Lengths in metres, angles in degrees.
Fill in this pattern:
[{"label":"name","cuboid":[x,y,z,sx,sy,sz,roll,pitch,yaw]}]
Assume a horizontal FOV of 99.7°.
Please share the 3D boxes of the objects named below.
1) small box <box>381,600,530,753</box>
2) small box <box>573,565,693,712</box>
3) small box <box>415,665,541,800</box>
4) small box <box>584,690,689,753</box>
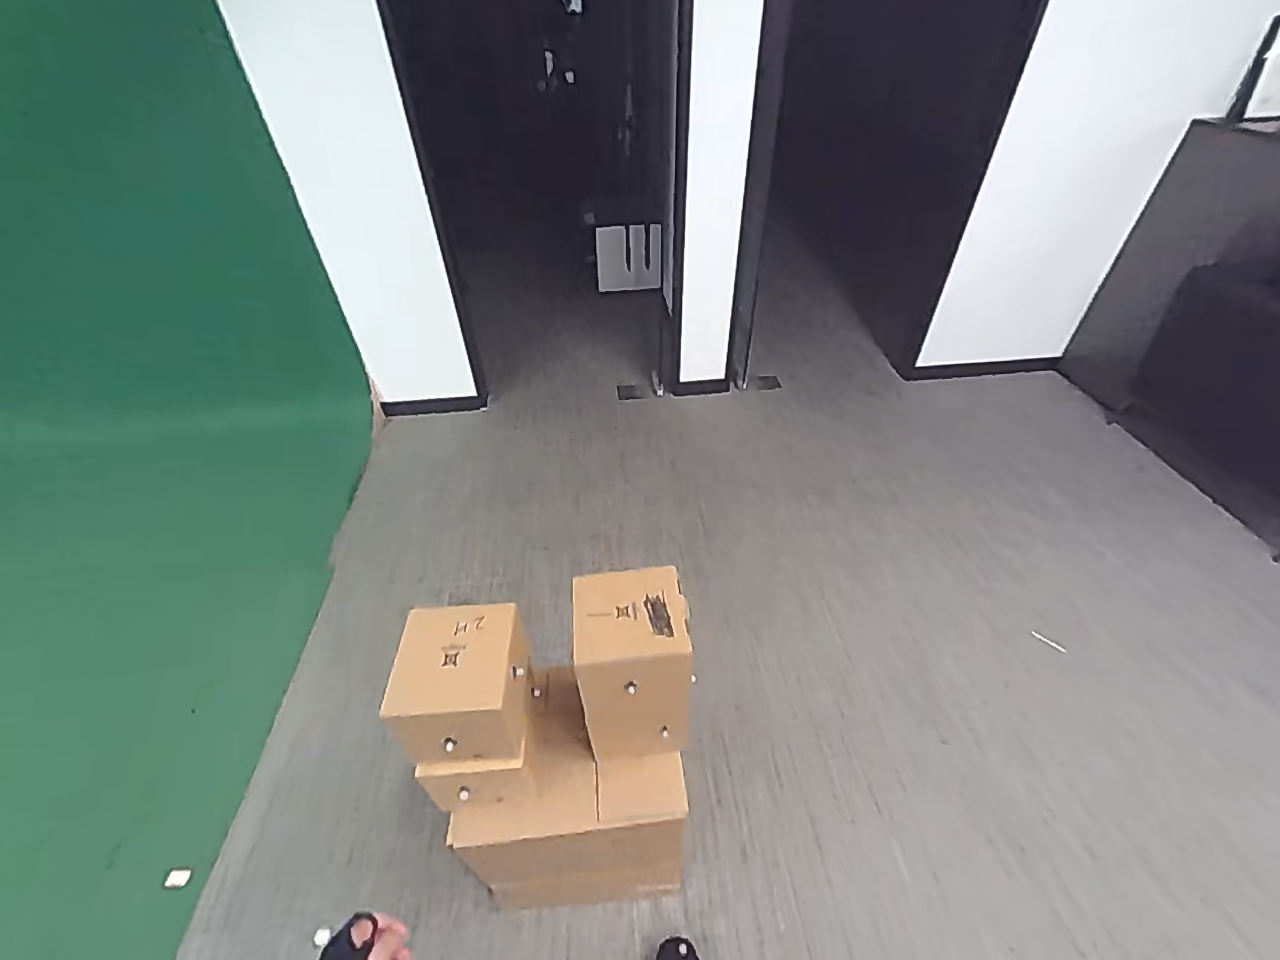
[{"label":"small box","cuboid":[-0.271,0.310,0.843,0.168,0.176,0.179,-1,42,-2]},{"label":"small box","cuboid":[-0.013,0.262,0.893,0.179,0.176,0.168,-5,42,-2]},{"label":"small box","cuboid":[-0.269,0.440,0.945,0.168,0.176,0.179,-3,42,-3]},{"label":"small box","cuboid":[-0.011,0.384,1.003,0.179,0.176,0.168,-6,42,-3]}]
